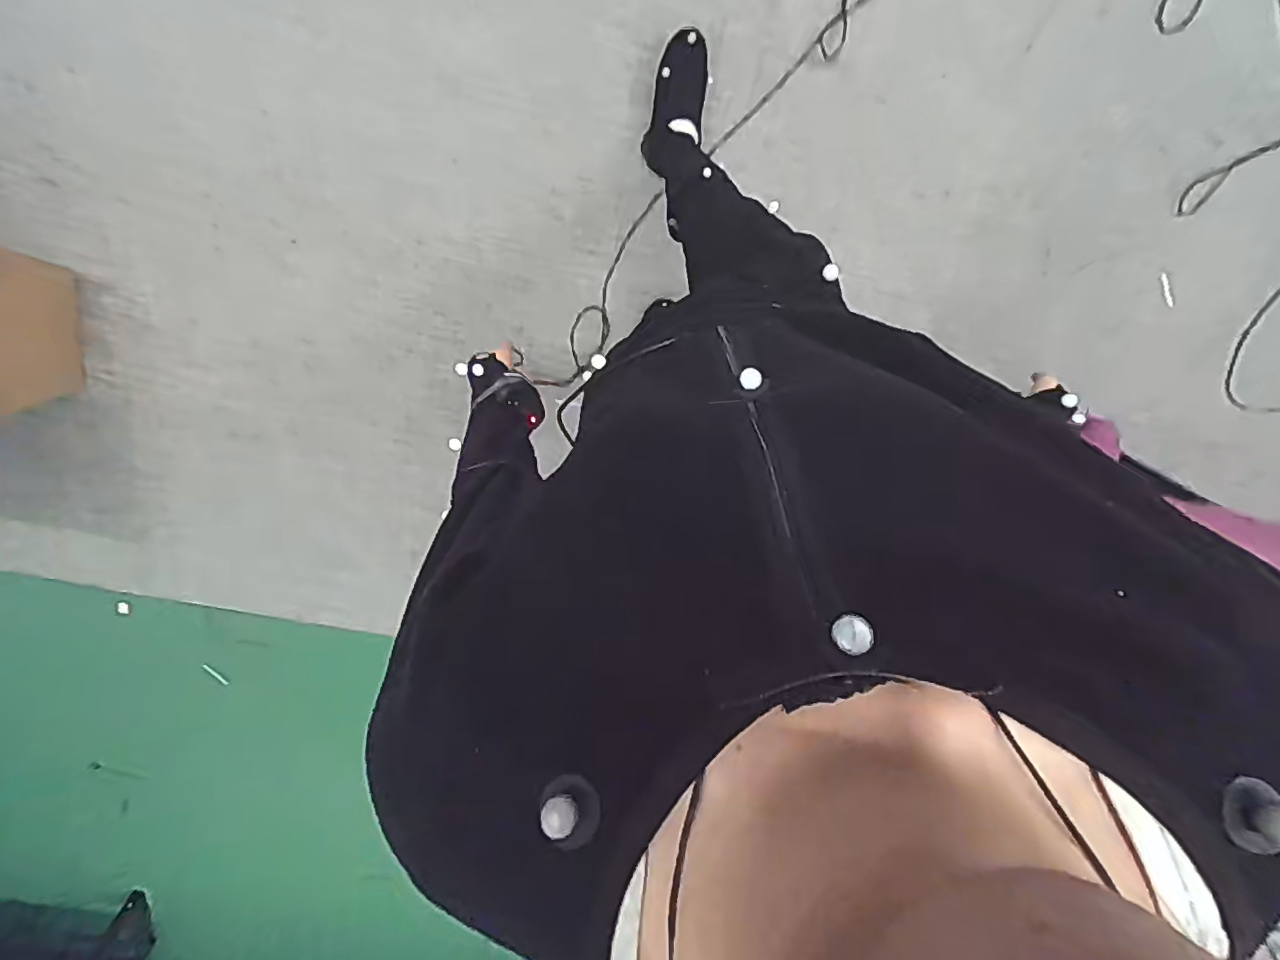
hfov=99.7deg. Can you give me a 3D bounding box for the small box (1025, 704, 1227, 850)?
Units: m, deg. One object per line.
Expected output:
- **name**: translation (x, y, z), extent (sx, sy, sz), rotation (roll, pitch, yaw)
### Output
- **small box**: translation (0.870, 0.537, 0.990), extent (0.179, 0.176, 0.168), rotation (11, 118, -6)
